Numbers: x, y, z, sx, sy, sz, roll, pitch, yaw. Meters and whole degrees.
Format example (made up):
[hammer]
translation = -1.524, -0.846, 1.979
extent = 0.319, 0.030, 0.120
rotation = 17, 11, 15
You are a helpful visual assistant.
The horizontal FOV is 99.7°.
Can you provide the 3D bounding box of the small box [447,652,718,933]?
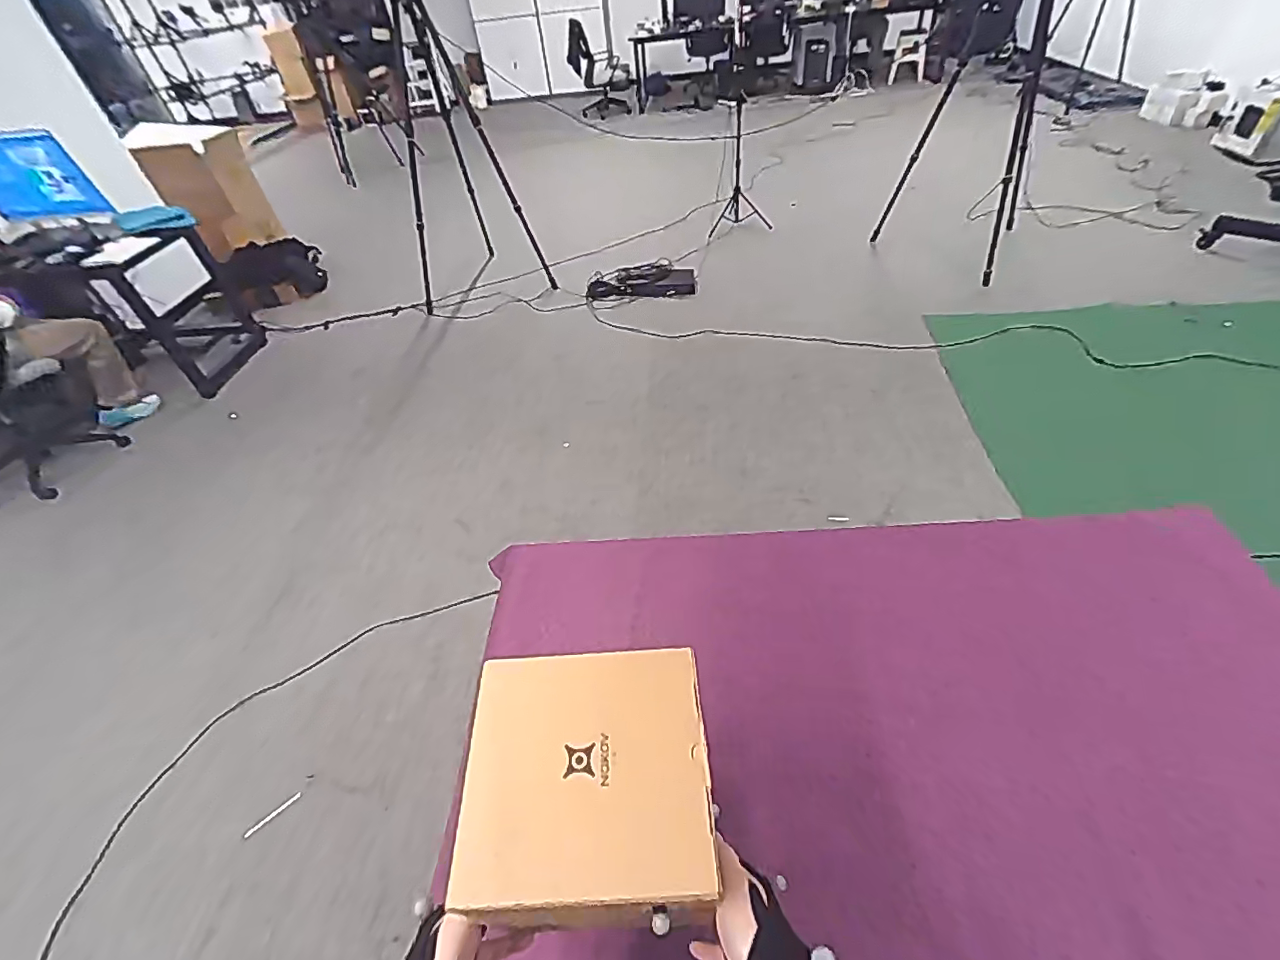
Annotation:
[small box]
translation = -0.035, 0.262, 0.450
extent = 0.179, 0.176, 0.168
rotation = -3, 47, 0
